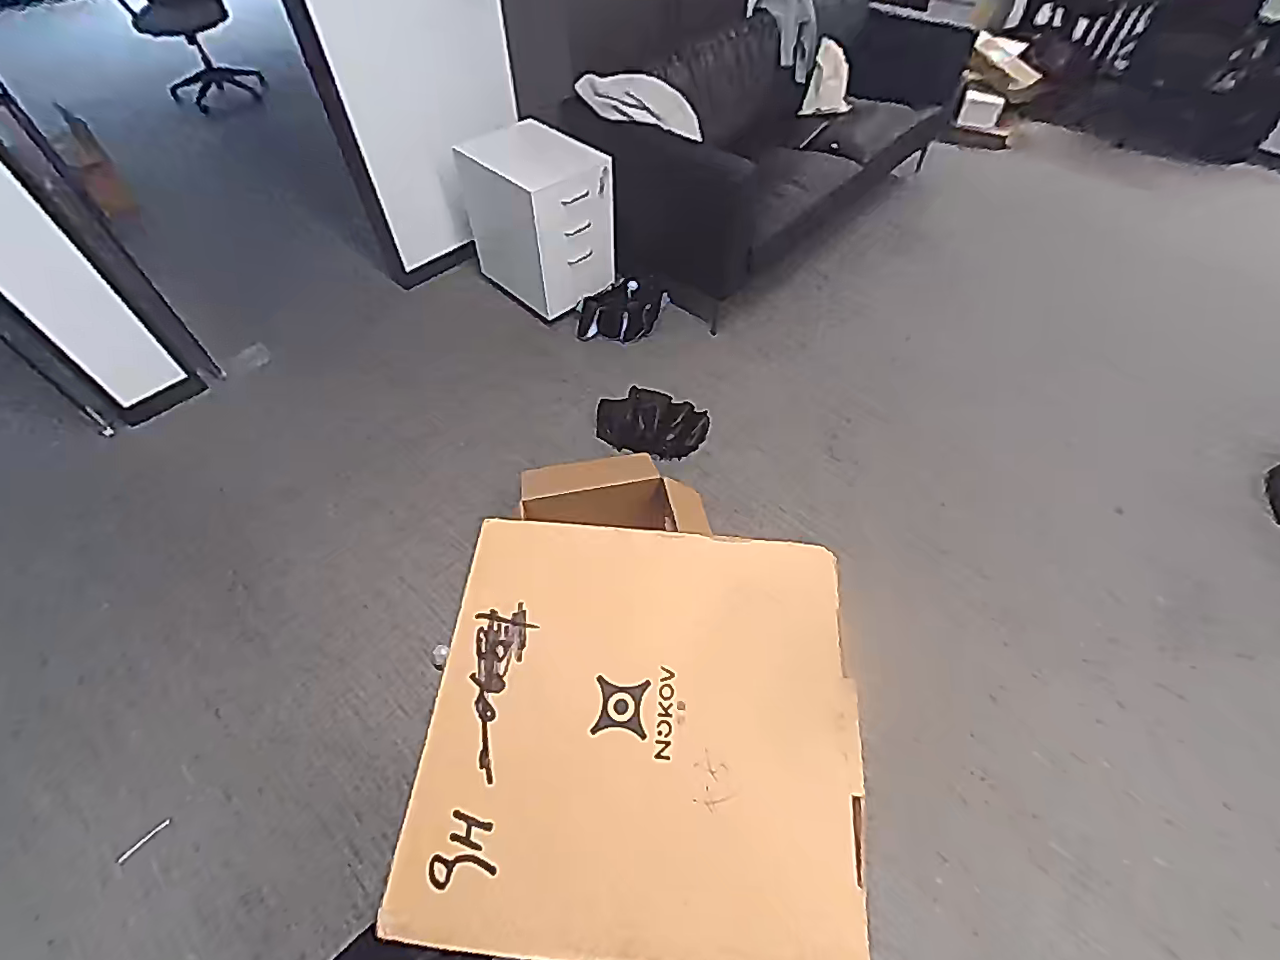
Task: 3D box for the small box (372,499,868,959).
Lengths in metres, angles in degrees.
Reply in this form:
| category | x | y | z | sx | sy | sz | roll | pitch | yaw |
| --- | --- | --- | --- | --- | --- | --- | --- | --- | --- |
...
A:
| category | x | y | z | sx | sy | sz | roll | pitch | yaw |
| --- | --- | --- | --- | --- | --- | --- | --- | --- | --- |
| small box | -0.002 | 0.128 | 0.294 | 0.179 | 0.176 | 0.168 | 6 | 60 | 1 |
